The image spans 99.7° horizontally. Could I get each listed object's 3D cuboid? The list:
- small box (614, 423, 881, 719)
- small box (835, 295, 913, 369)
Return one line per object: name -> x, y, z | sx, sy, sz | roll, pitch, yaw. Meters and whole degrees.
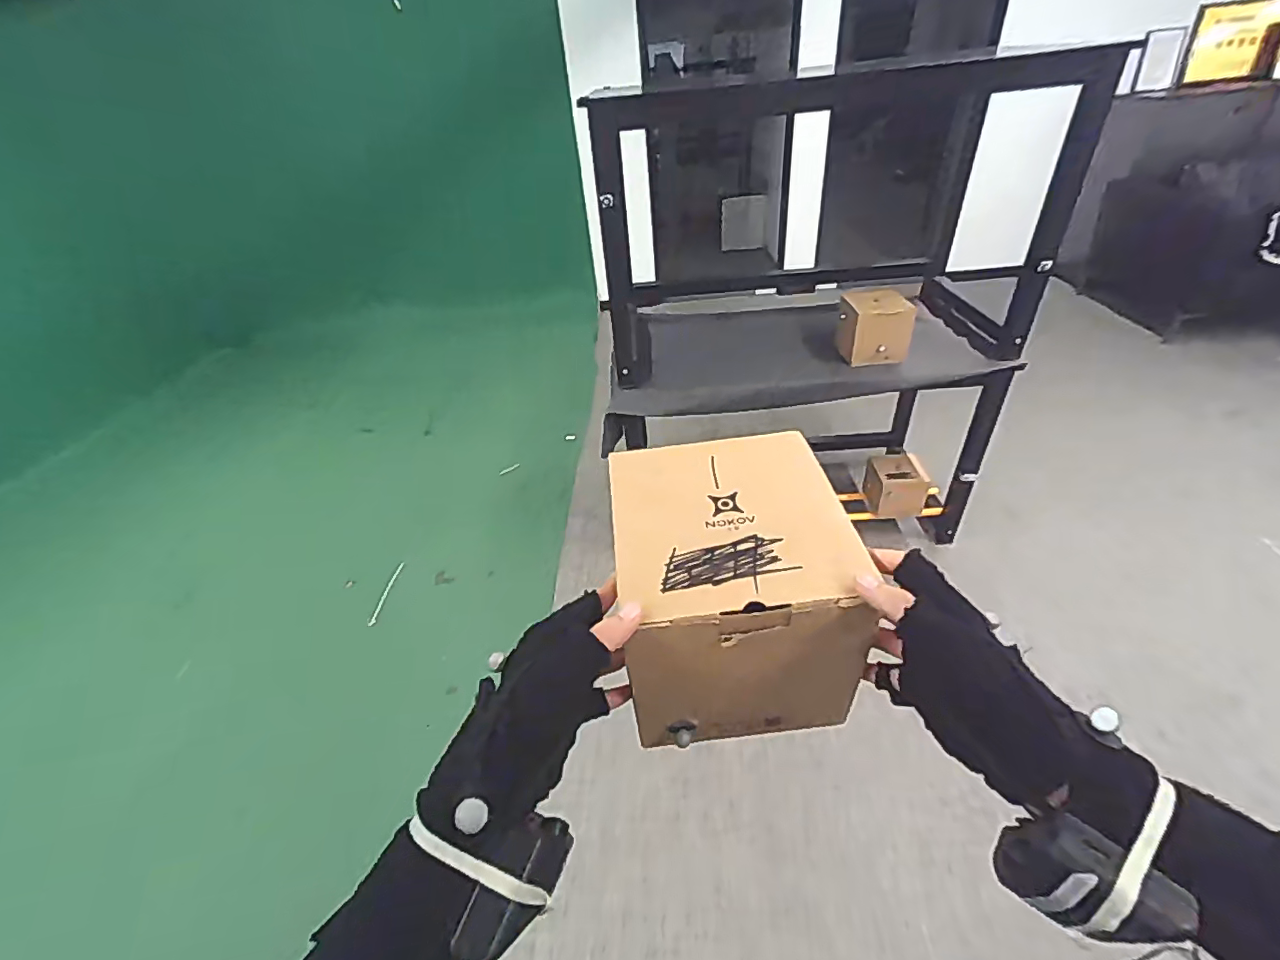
small box -> 0.071, 0.077, 0.445 | 0.168, 0.176, 0.179 | -6, 39, -1
small box -> 0.716, -0.459, 1.675 | 0.168, 0.176, 0.179 | -5, 36, 3
